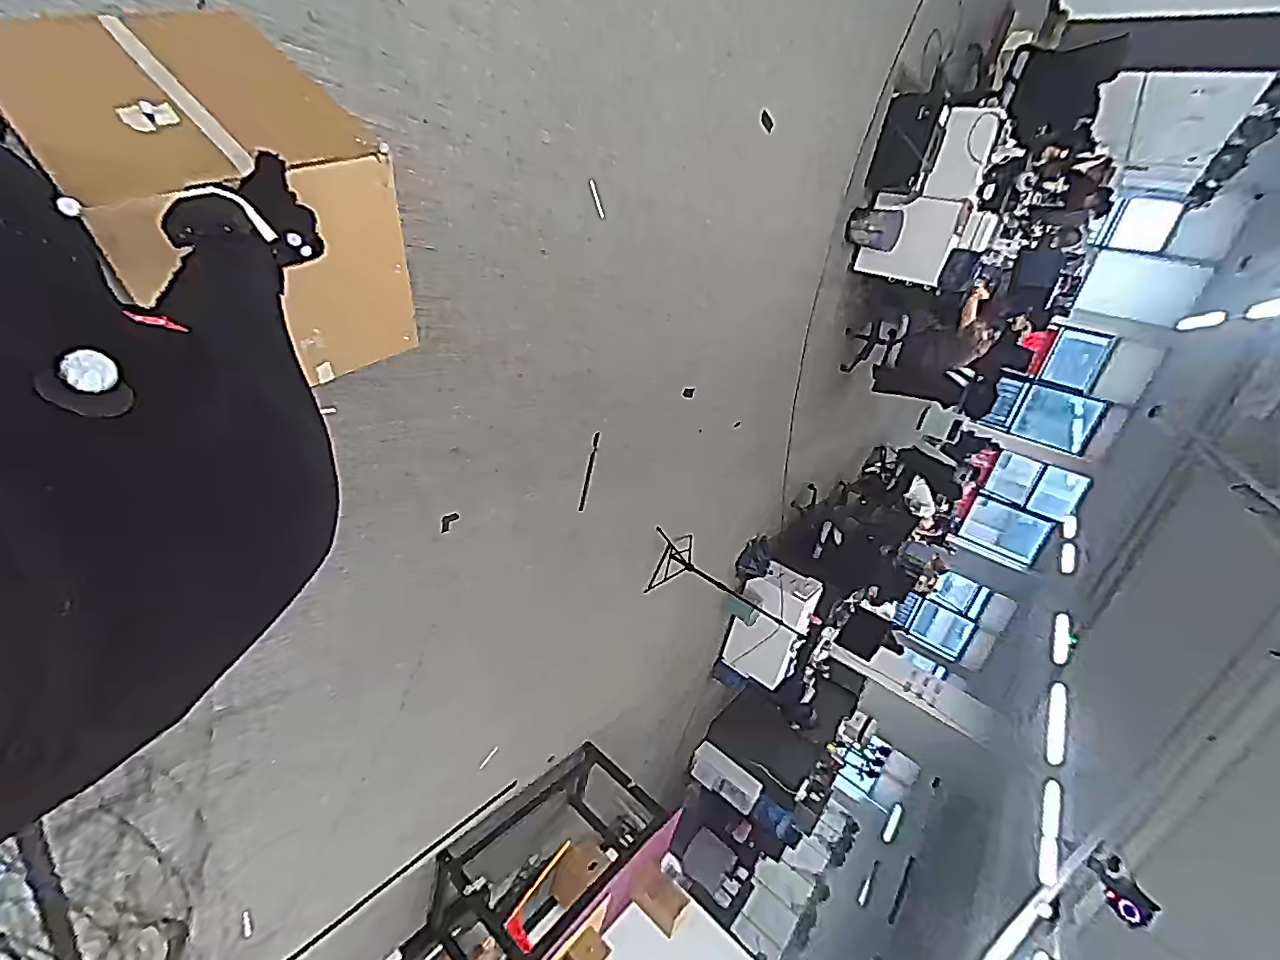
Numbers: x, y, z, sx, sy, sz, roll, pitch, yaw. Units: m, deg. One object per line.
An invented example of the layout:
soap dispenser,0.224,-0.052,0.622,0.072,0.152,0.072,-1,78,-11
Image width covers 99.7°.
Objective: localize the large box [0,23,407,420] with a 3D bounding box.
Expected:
large box,-0.593,-0.364,0.760,0.320,0.408,0.320,-36,162,-32
